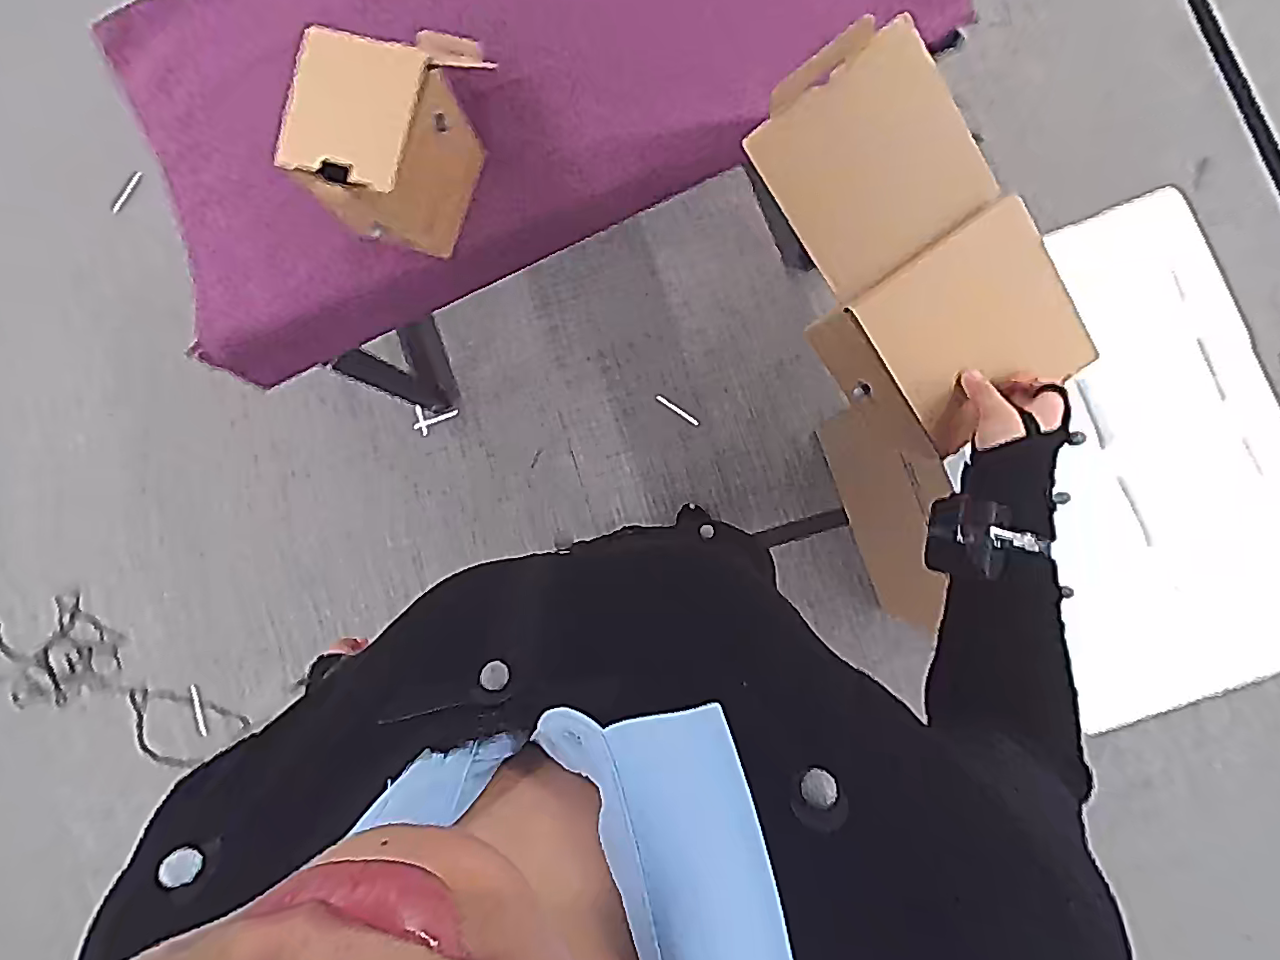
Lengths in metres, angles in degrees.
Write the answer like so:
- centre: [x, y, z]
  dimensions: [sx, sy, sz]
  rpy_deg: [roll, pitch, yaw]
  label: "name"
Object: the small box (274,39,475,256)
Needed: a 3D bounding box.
- centre: [-0.352, -0.451, 0.756]
  dimensions: [0.168, 0.176, 0.179]
  rpy_deg: [17, 87, 7]
  label: "small box"
